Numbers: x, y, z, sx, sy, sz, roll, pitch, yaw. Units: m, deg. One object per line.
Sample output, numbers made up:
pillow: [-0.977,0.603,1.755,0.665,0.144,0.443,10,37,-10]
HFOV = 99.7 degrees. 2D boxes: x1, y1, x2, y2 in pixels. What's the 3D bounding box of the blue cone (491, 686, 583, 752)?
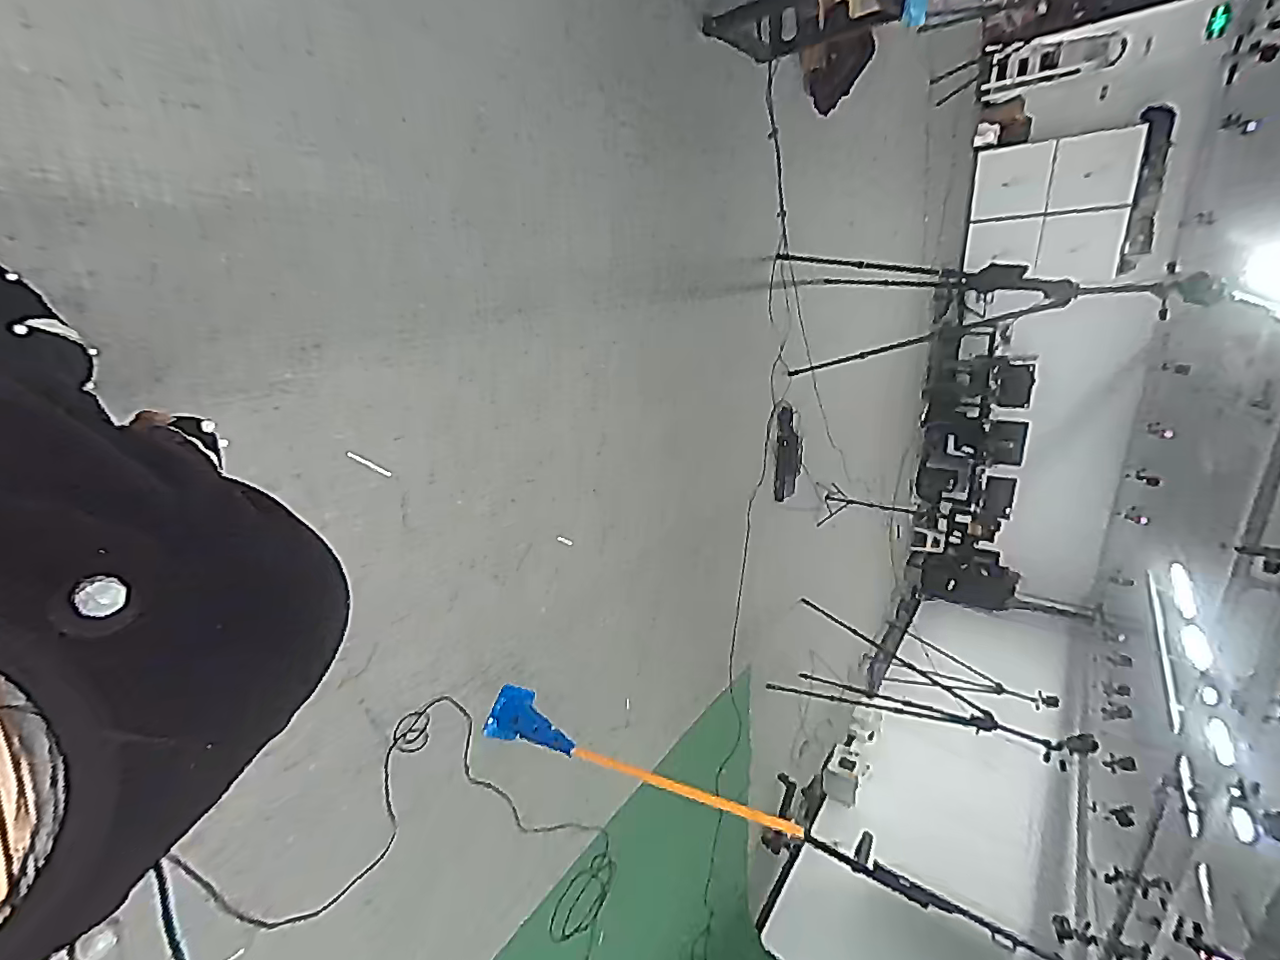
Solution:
blue cone: [-0.369,0.934,2.039,0.192,0.380,0.193,42,64,-48]
